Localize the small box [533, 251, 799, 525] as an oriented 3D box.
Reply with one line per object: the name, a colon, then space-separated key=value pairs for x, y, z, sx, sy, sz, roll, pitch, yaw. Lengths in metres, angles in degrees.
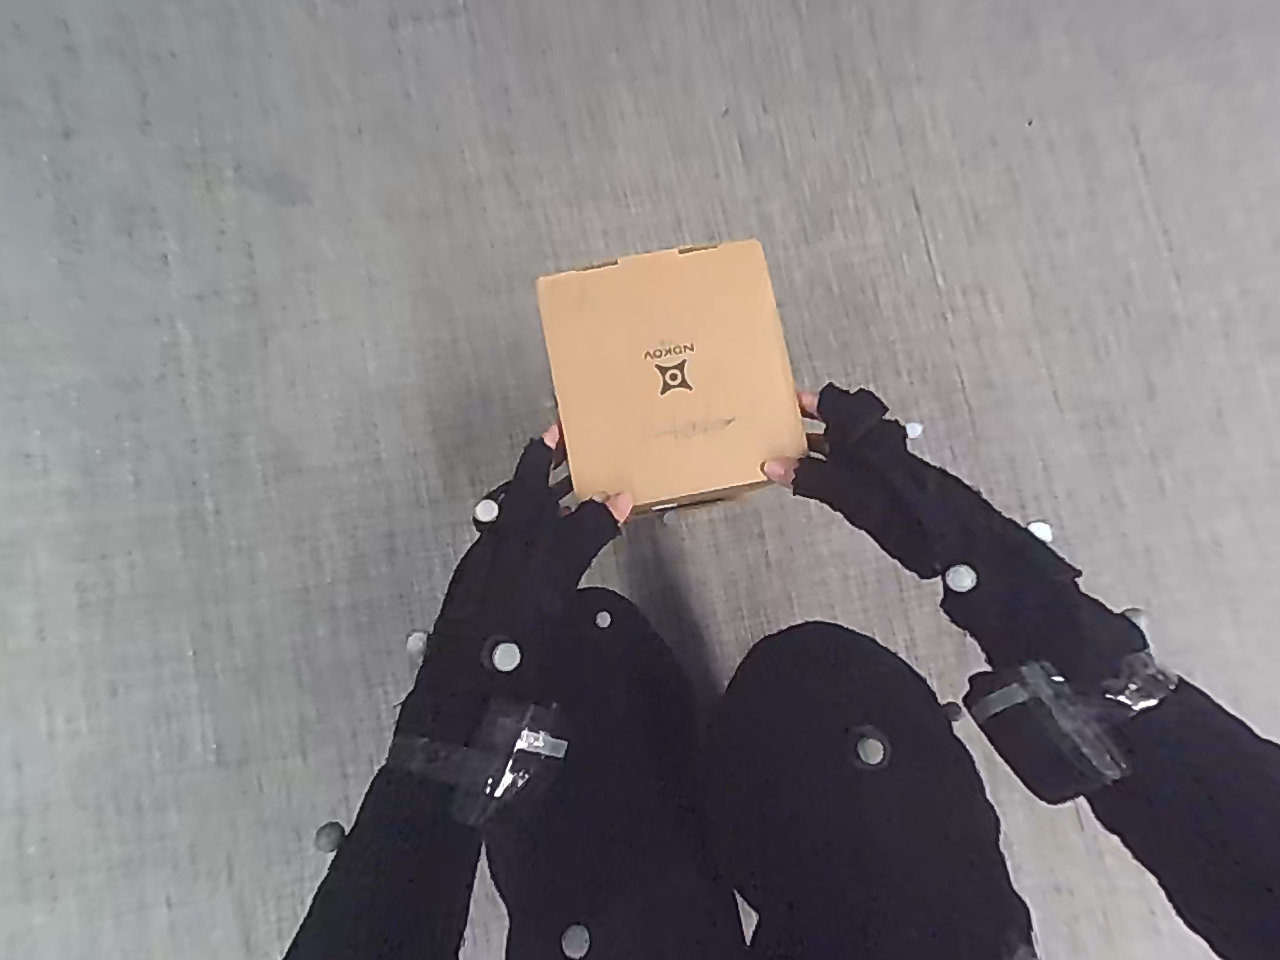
small box: x=0.015 y=-0.061 z=0.459 sx=0.168 sy=0.176 sz=0.179 roll=-10 pitch=85 yaw=-1
